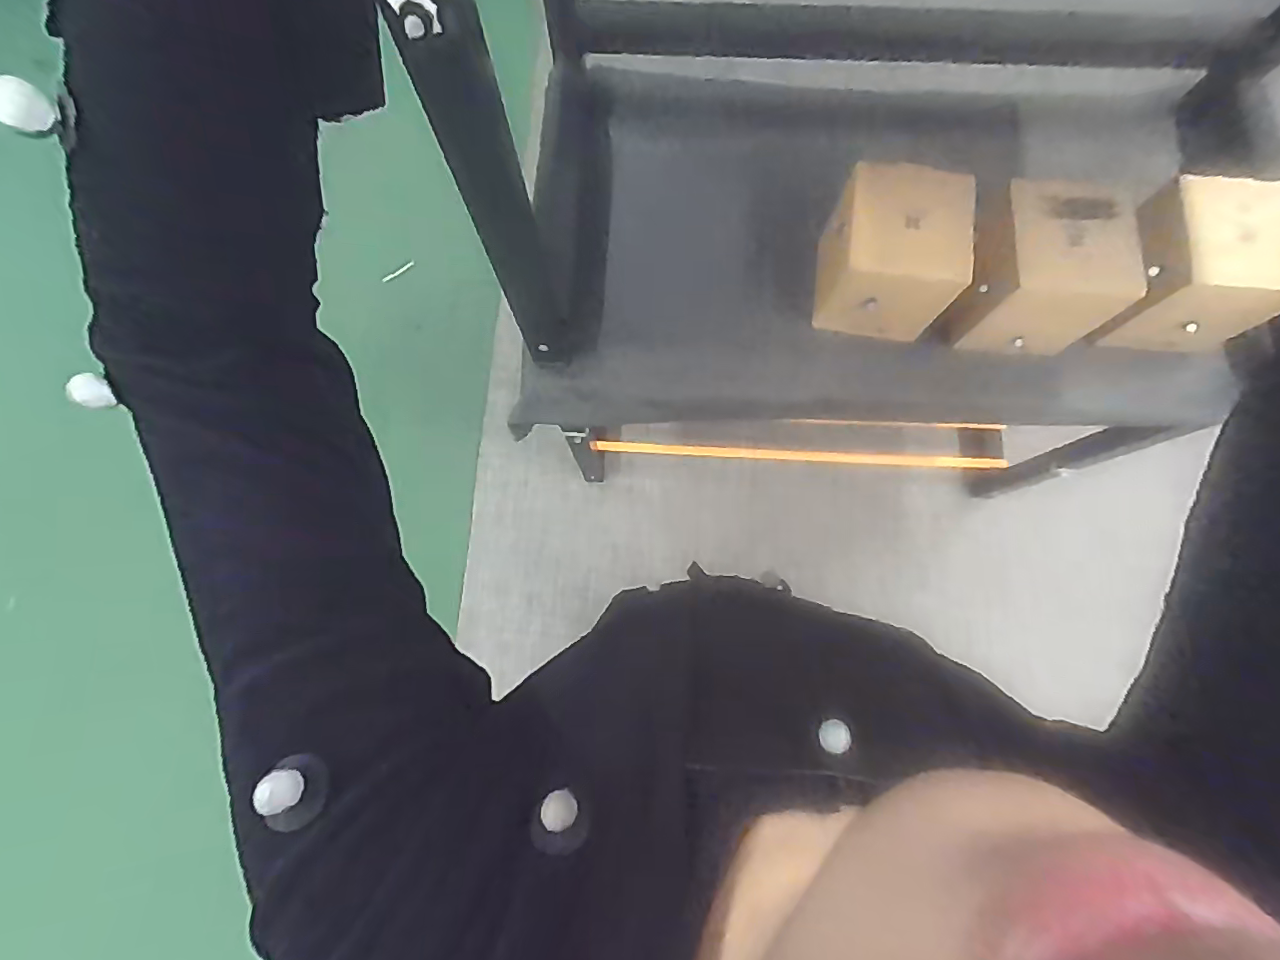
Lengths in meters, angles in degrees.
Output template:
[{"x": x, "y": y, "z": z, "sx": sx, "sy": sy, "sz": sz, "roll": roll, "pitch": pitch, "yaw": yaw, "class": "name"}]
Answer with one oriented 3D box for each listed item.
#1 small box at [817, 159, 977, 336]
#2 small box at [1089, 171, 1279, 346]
[{"x": 0.377, "y": -0.340, "z": 0.818, "sx": 0.168, "sy": 0.176, "sz": 0.179, "roll": 9, "pitch": 76, "yaw": 3, "class": "small box"}, {"x": 0.817, "y": -0.317, "z": 0.803, "sx": 0.168, "sy": 0.176, "sz": 0.179, "roll": 6, "pitch": 75, "yaw": 2, "class": "small box"}]
